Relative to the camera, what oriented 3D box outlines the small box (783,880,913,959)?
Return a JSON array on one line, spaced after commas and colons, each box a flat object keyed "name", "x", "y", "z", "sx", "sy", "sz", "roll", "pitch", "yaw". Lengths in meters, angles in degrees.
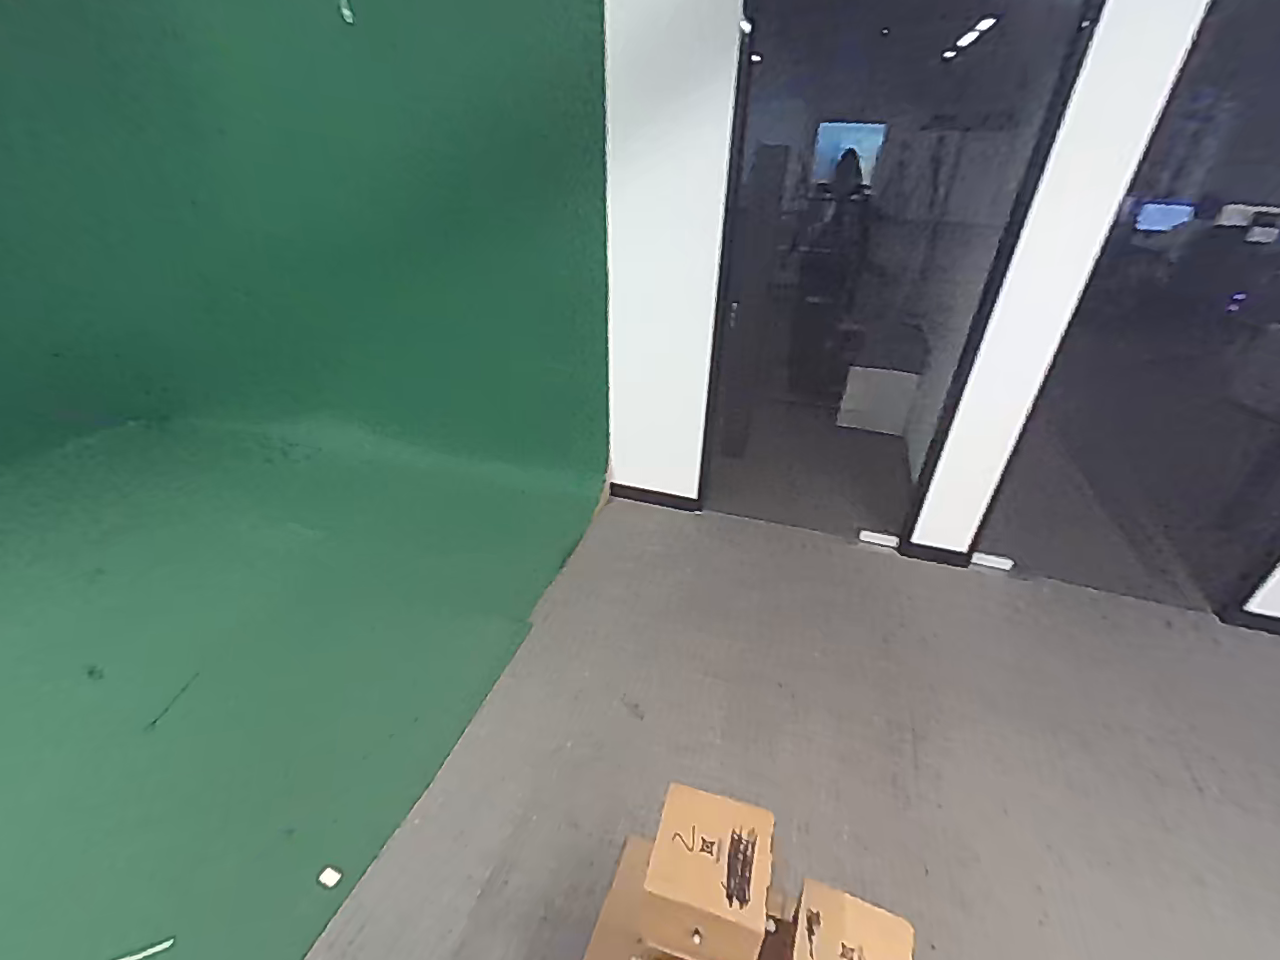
[{"name": "small box", "x": 0.328, "y": 0.811, "z": 0.879, "sx": 0.179, "sy": 0.176, "sz": 0.168, "roll": 12, "pitch": 34, "yaw": 21}]
